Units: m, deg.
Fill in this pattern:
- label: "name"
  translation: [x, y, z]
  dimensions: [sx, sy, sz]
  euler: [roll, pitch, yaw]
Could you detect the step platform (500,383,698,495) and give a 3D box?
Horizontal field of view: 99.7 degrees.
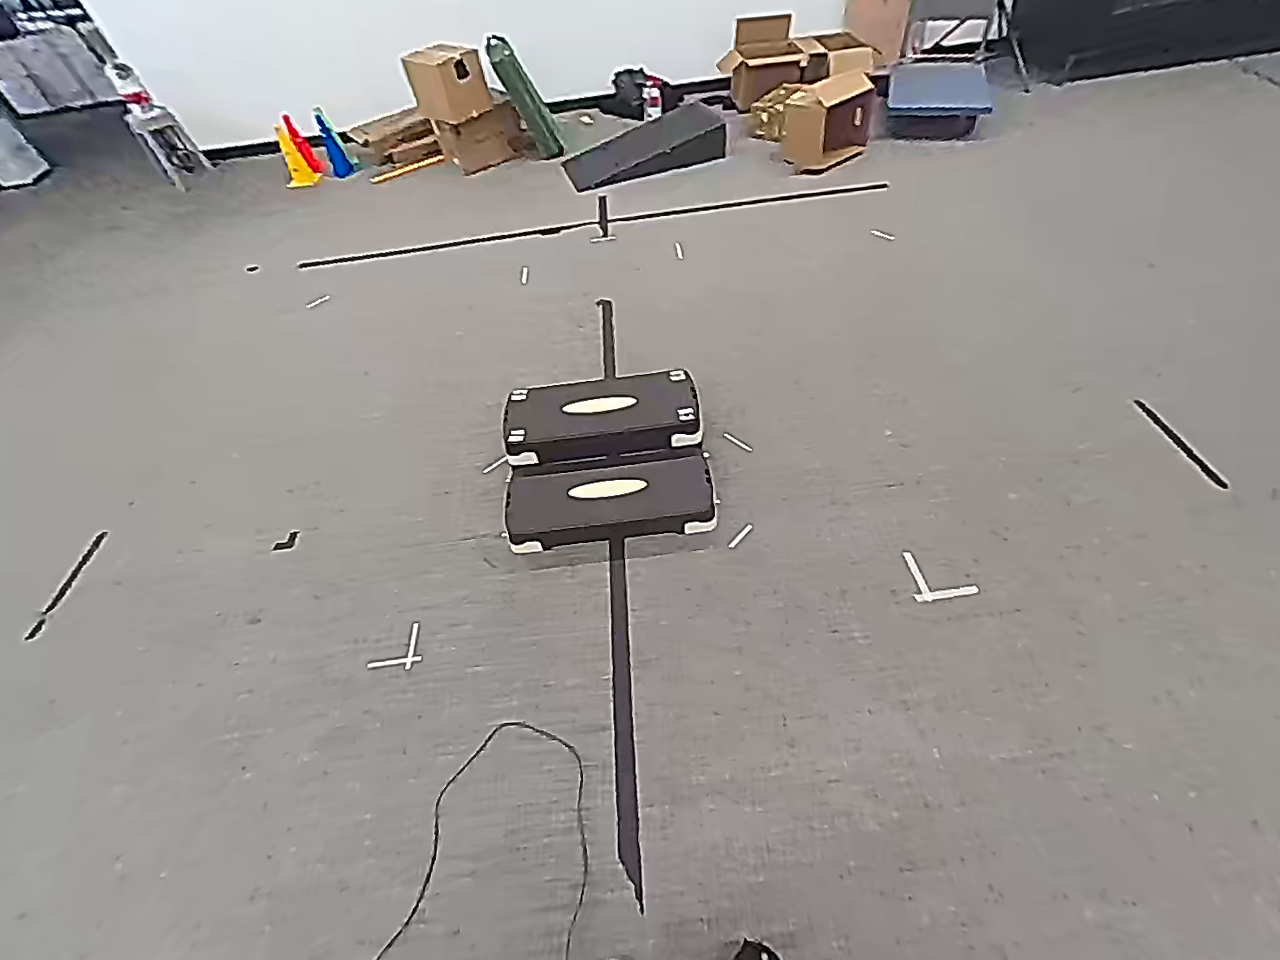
- label: "step platform"
  translation: [-0.141, -0.151, 1.898]
  dimensions: [0.684, 0.204, 0.286]
  euler: [-7, 51, 0]
